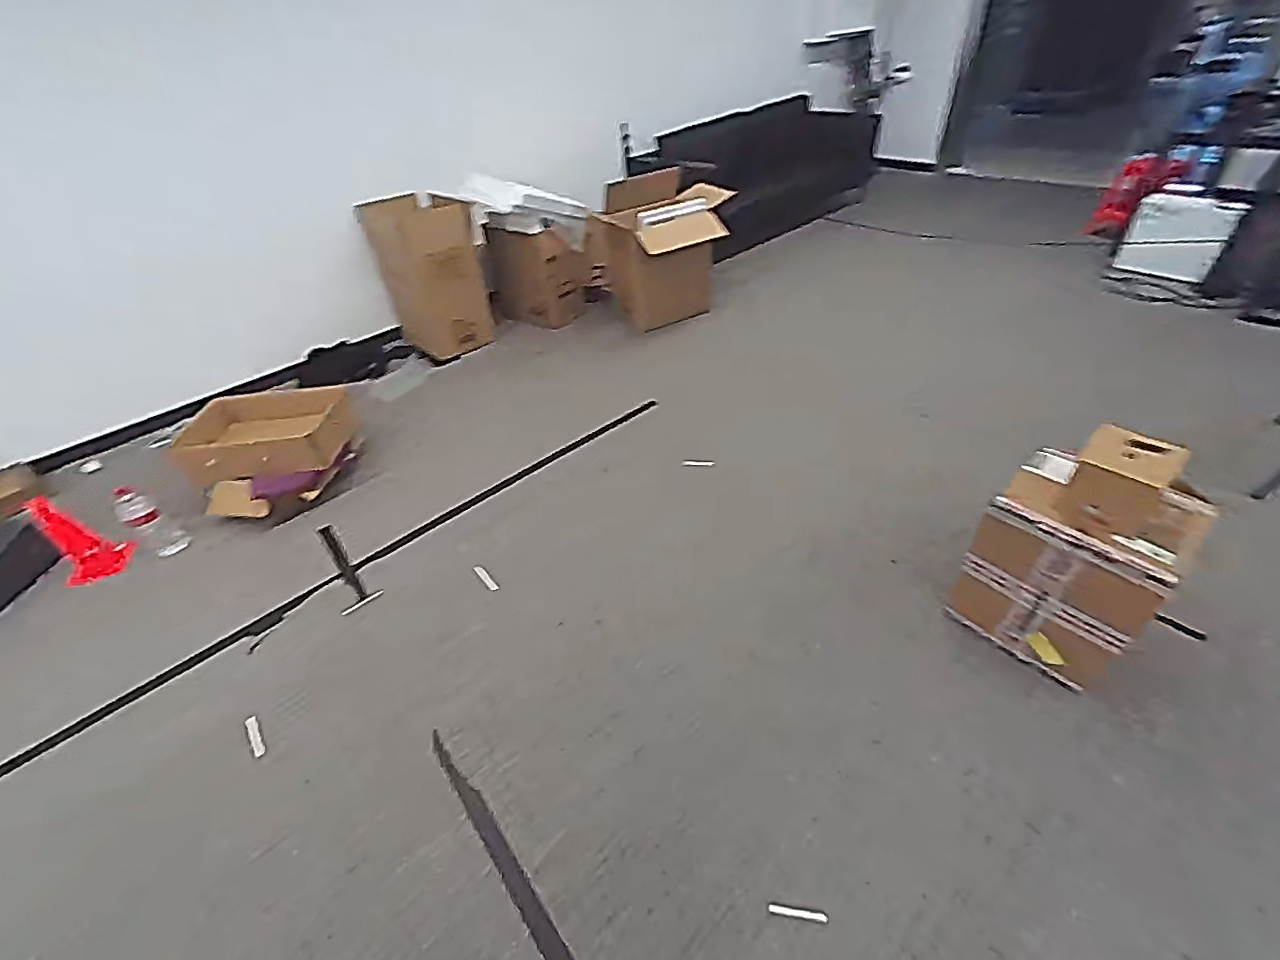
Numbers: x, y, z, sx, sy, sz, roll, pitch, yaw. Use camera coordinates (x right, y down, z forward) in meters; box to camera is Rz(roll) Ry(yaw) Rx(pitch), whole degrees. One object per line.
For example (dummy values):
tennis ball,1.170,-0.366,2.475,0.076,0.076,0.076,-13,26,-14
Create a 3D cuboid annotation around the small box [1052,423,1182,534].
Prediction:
small box,1.143,-0.004,1.308,0.179,0.176,0.168,-36,48,-25
